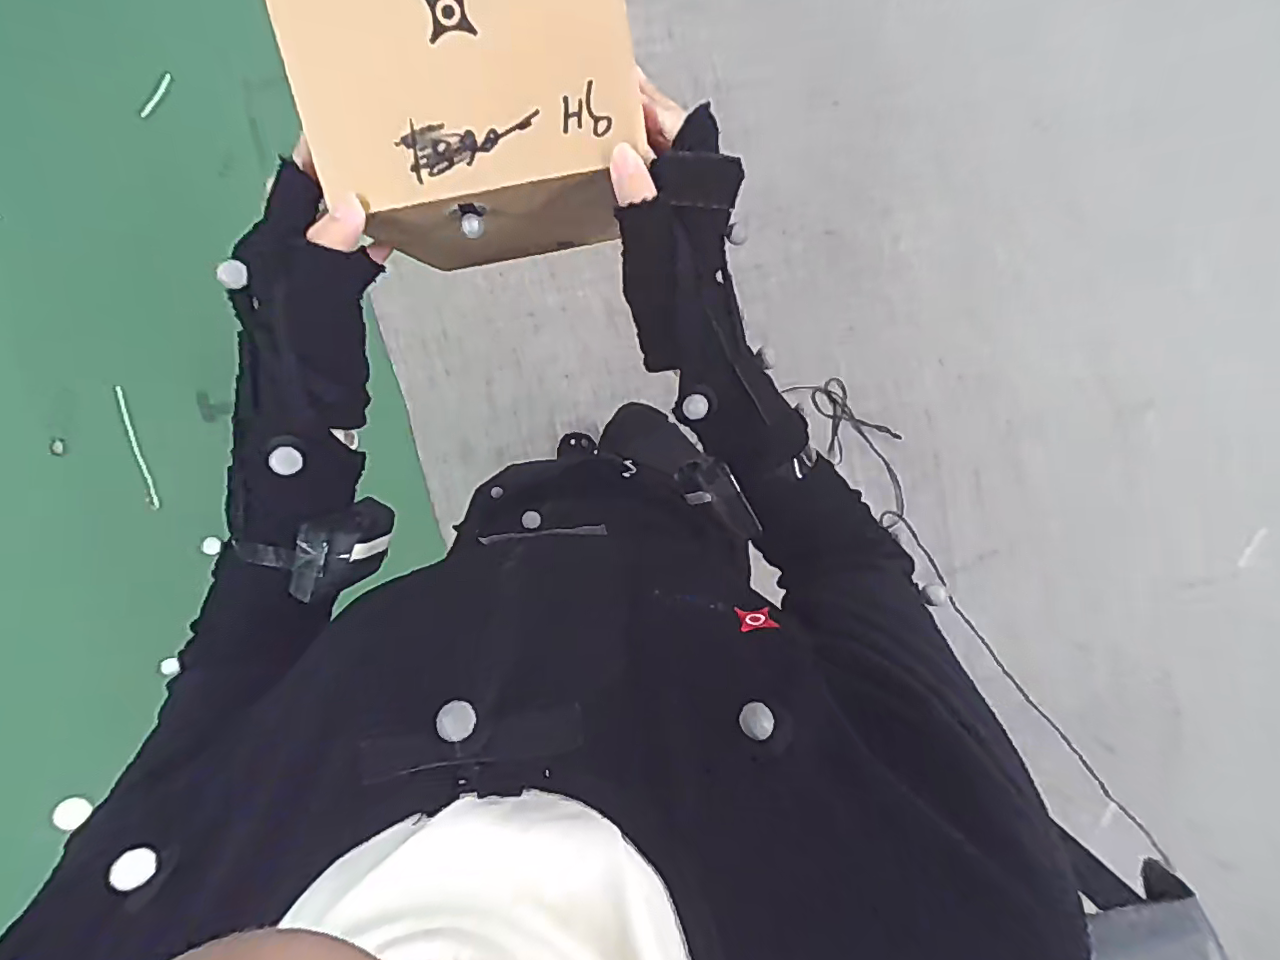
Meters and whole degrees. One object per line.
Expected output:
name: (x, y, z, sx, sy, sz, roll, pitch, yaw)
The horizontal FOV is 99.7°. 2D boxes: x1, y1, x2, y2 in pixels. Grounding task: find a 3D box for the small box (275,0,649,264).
small box: (-0.092, -0.250, 0.332, 0.168, 0.176, 0.179, -10, 102, 2)
